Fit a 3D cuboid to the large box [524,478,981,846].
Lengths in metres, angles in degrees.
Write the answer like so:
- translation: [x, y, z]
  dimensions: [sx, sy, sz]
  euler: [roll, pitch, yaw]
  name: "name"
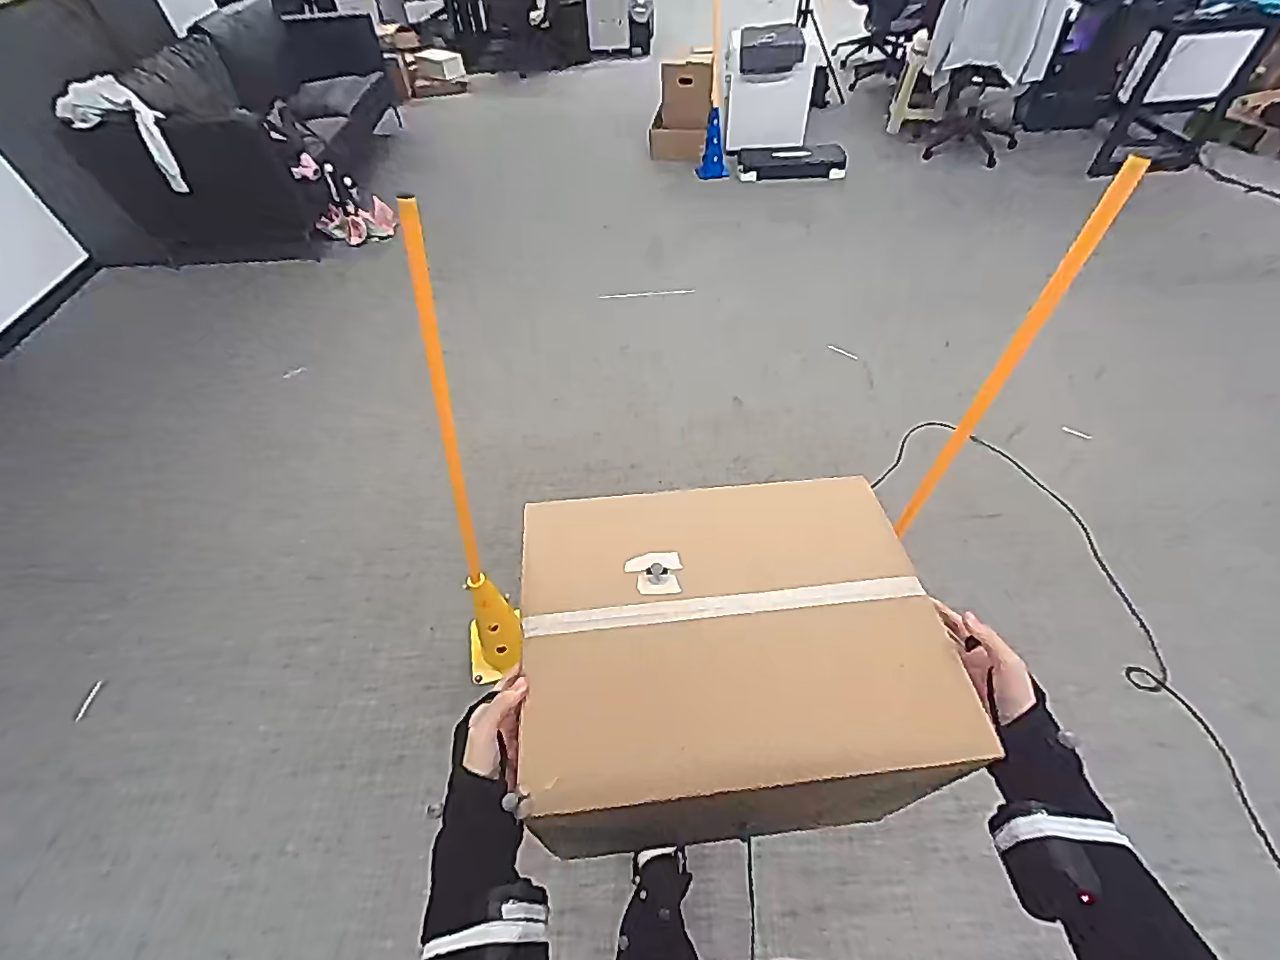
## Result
- translation: [0.088, 0.227, 0.663]
  dimensions: [0.408, 0.320, 0.320]
  euler: [-5, 50, -4]
  name: "large box"
